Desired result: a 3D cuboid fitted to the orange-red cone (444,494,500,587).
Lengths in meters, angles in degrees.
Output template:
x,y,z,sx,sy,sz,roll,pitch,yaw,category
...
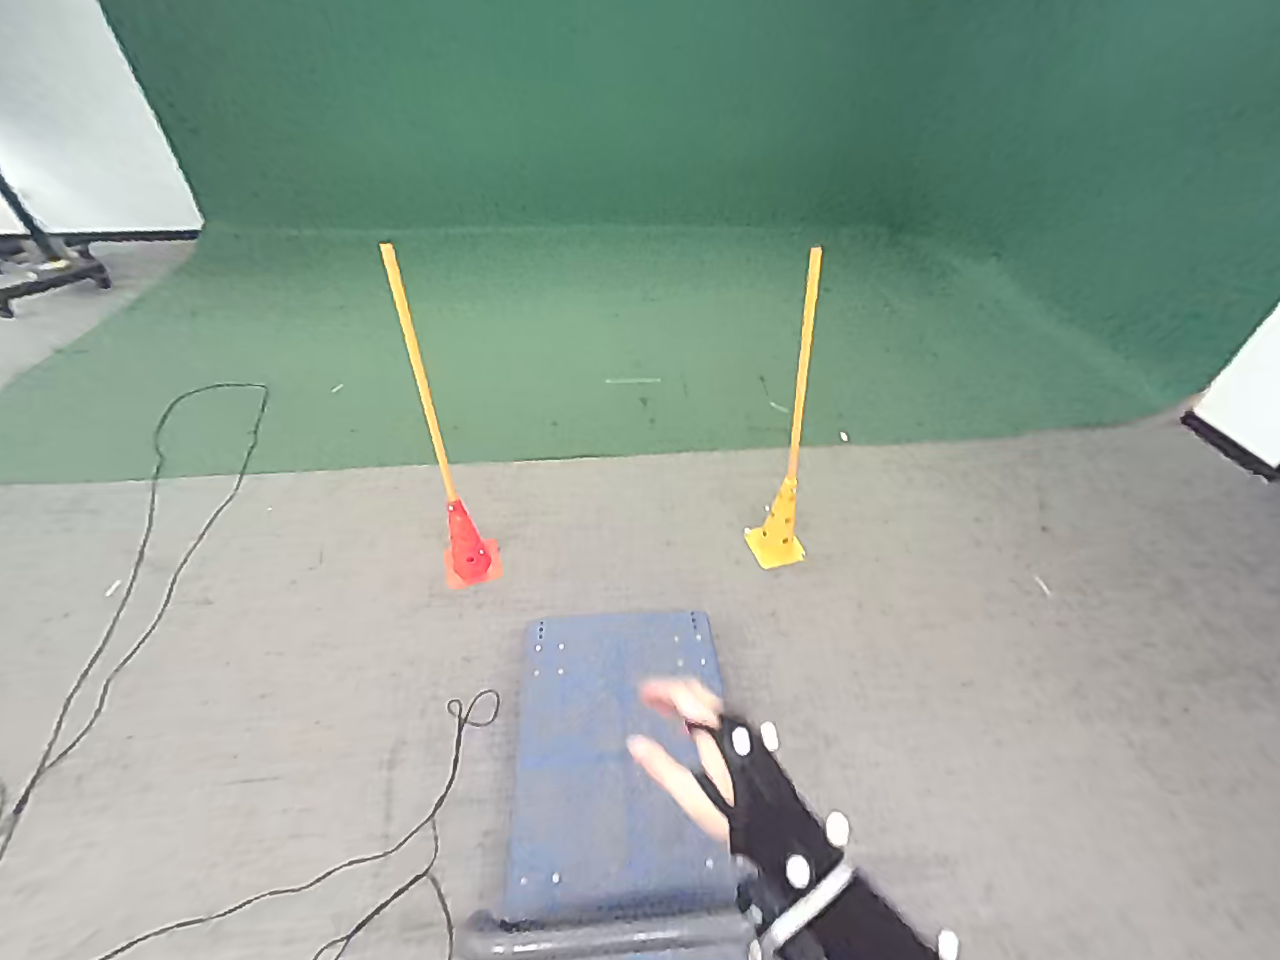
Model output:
x,y,z,sx,sy,sz,roll,pitch,yaw,category
-0.642,0.189,1.951,0.199,0.360,0.198,-14,44,-14,orange-red cone
